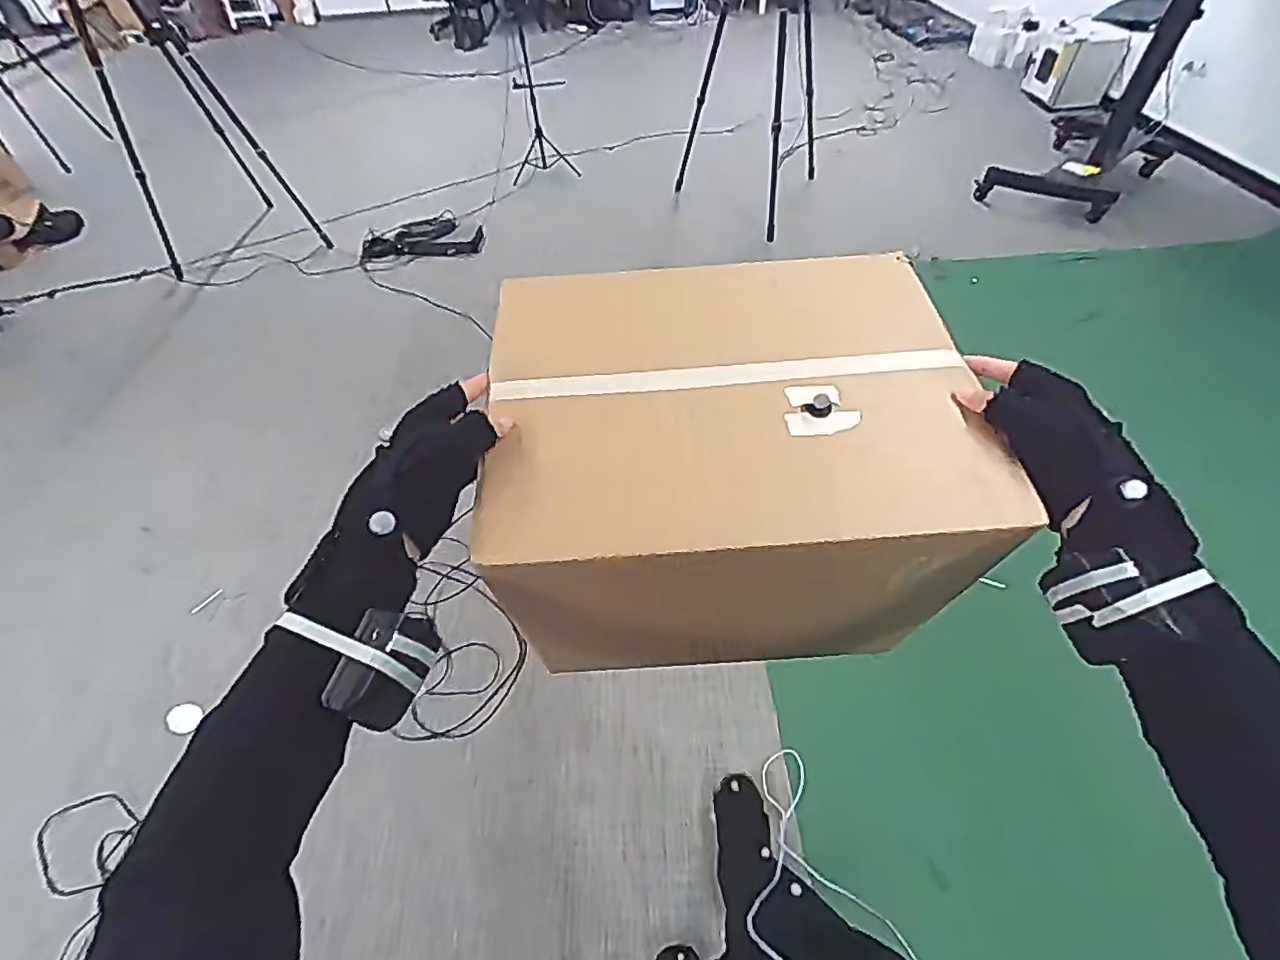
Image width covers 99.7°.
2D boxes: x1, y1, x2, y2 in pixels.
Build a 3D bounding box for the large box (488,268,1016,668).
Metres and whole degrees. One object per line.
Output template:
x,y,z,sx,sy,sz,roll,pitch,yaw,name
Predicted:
0.076,0.000,0.602,0.408,0.320,0.320,-4,57,-1,large box
